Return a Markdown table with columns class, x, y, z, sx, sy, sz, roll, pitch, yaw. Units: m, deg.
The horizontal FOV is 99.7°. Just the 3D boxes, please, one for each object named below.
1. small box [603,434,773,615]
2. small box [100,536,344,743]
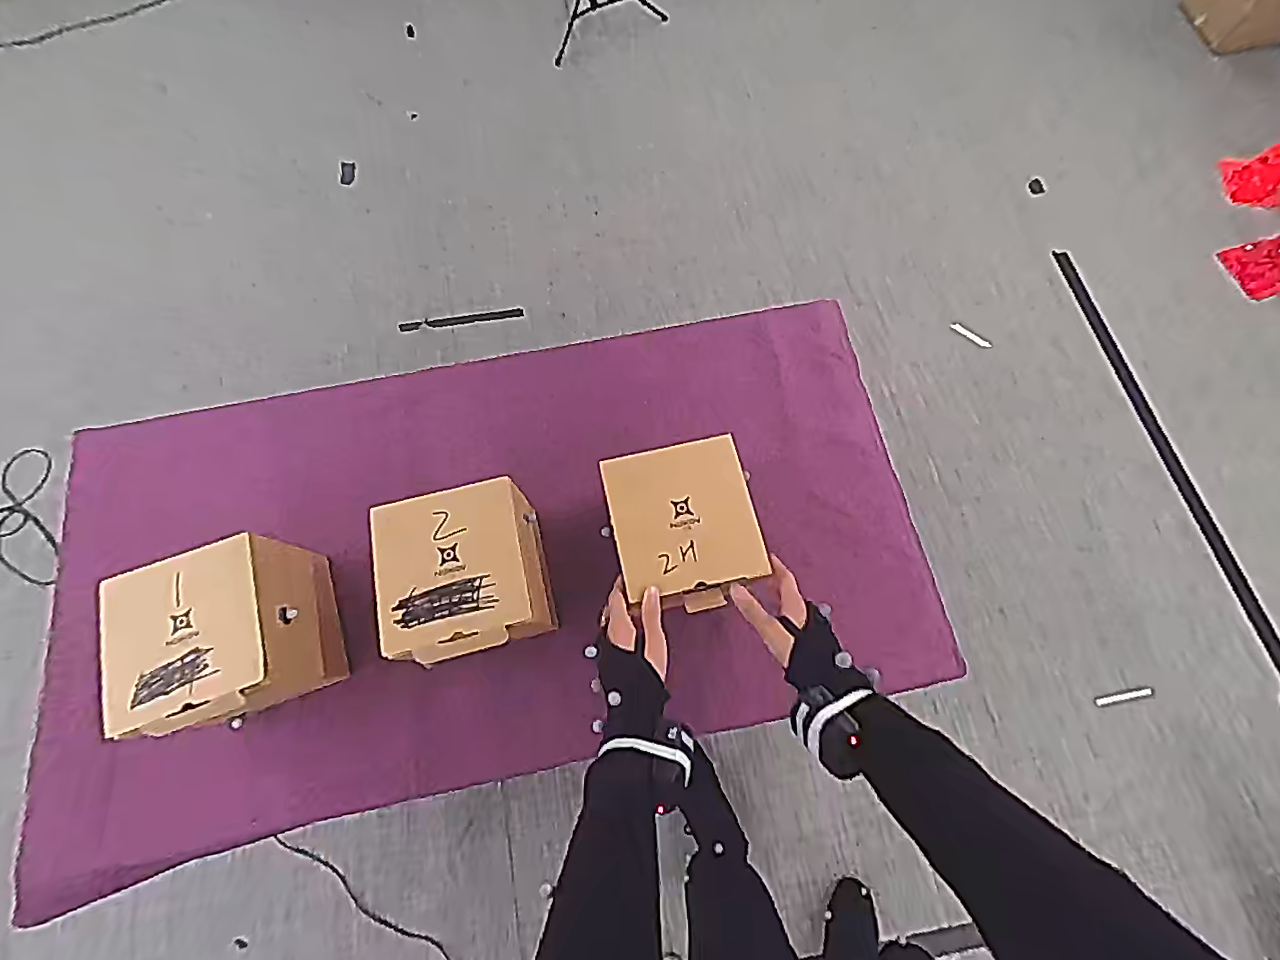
| class | x | y | z | sx | sy | sz | roll | pitch | yaw |
| --- | --- | --- | --- | --- | --- | --- | --- | --- | --- |
| small box | 0.052 | 0.065 | 0.693 | 0.168 | 0.176 | 0.179 | -12 | 72 | -3 |
| small box | -0.491 | 0.190 | 0.658 | 0.168 | 0.176 | 0.179 | -20 | 72 | -6 |
